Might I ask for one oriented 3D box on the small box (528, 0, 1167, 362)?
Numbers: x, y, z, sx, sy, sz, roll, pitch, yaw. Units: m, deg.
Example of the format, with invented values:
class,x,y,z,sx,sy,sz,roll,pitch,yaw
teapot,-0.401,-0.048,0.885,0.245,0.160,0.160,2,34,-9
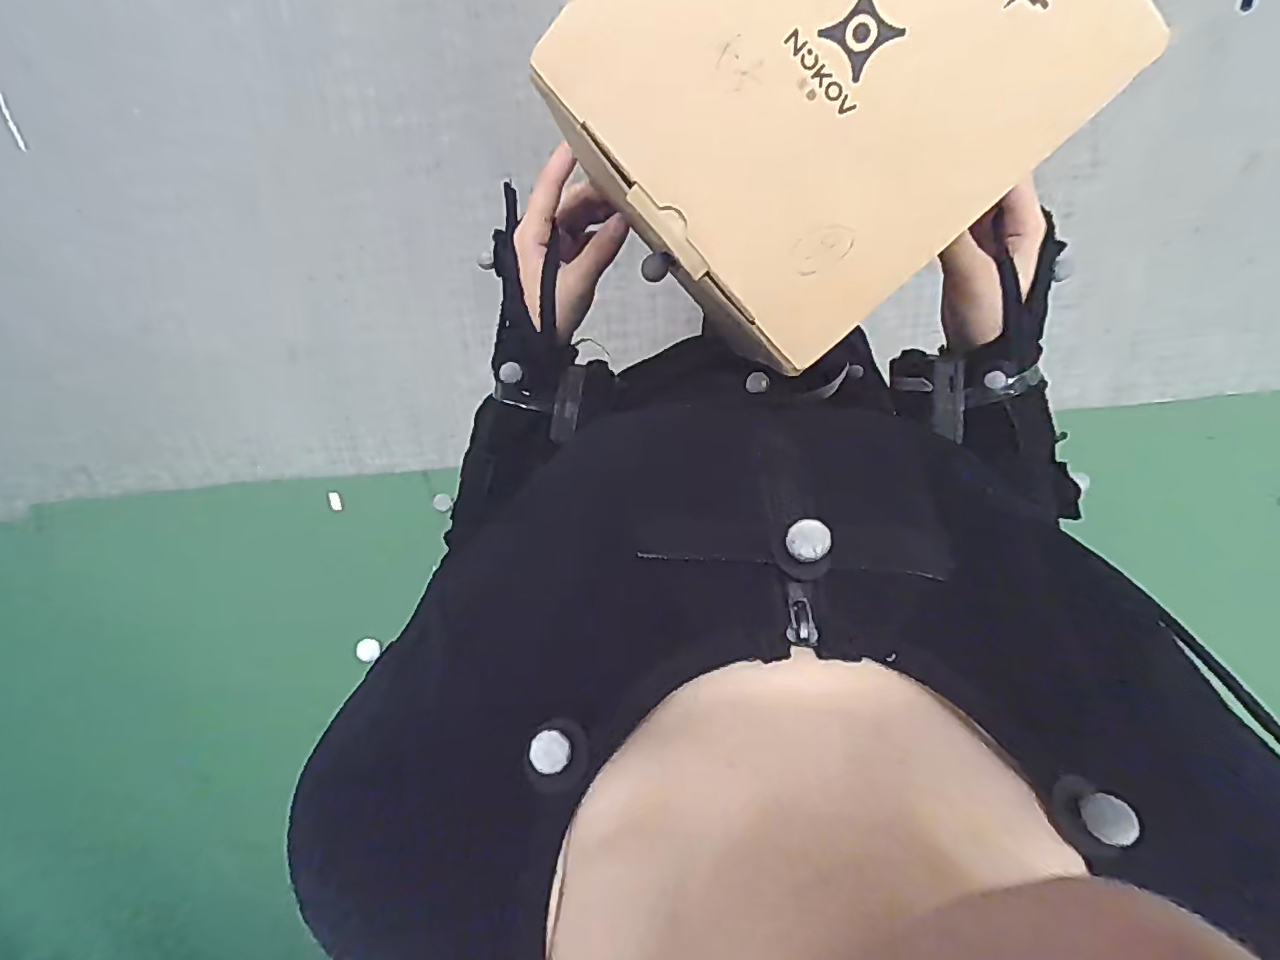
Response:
class,x,y,z,sx,sy,sz,roll,pitch,yaw
small box,0.078,-0.182,0.277,0.179,0.176,0.168,-41,99,13
